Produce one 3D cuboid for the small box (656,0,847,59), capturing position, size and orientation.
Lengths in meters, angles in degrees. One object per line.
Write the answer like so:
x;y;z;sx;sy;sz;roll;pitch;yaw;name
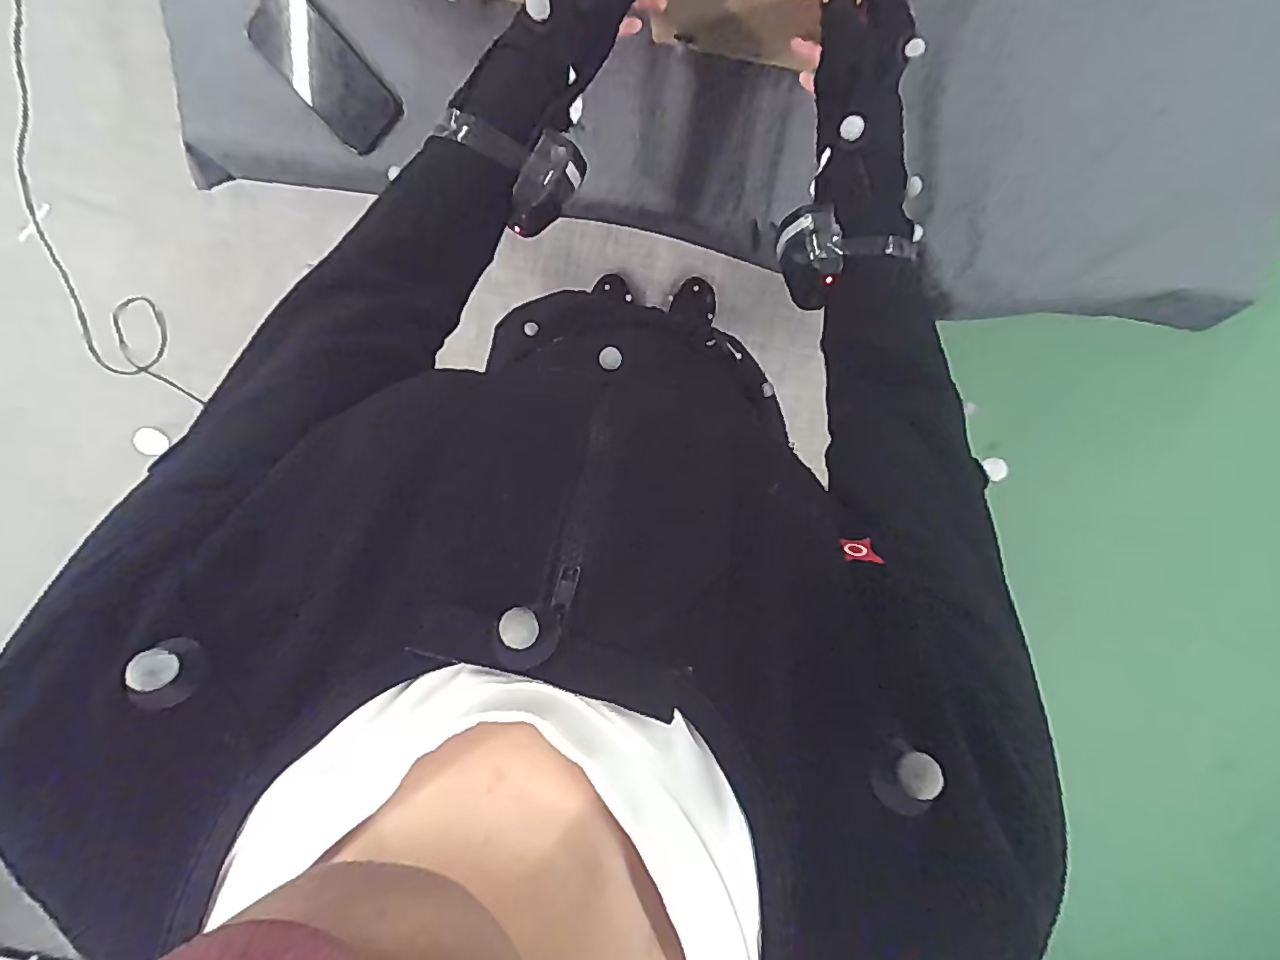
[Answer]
0.104;-0.478;0.434;0.168;0.176;0.179;11;112;-1;small box
